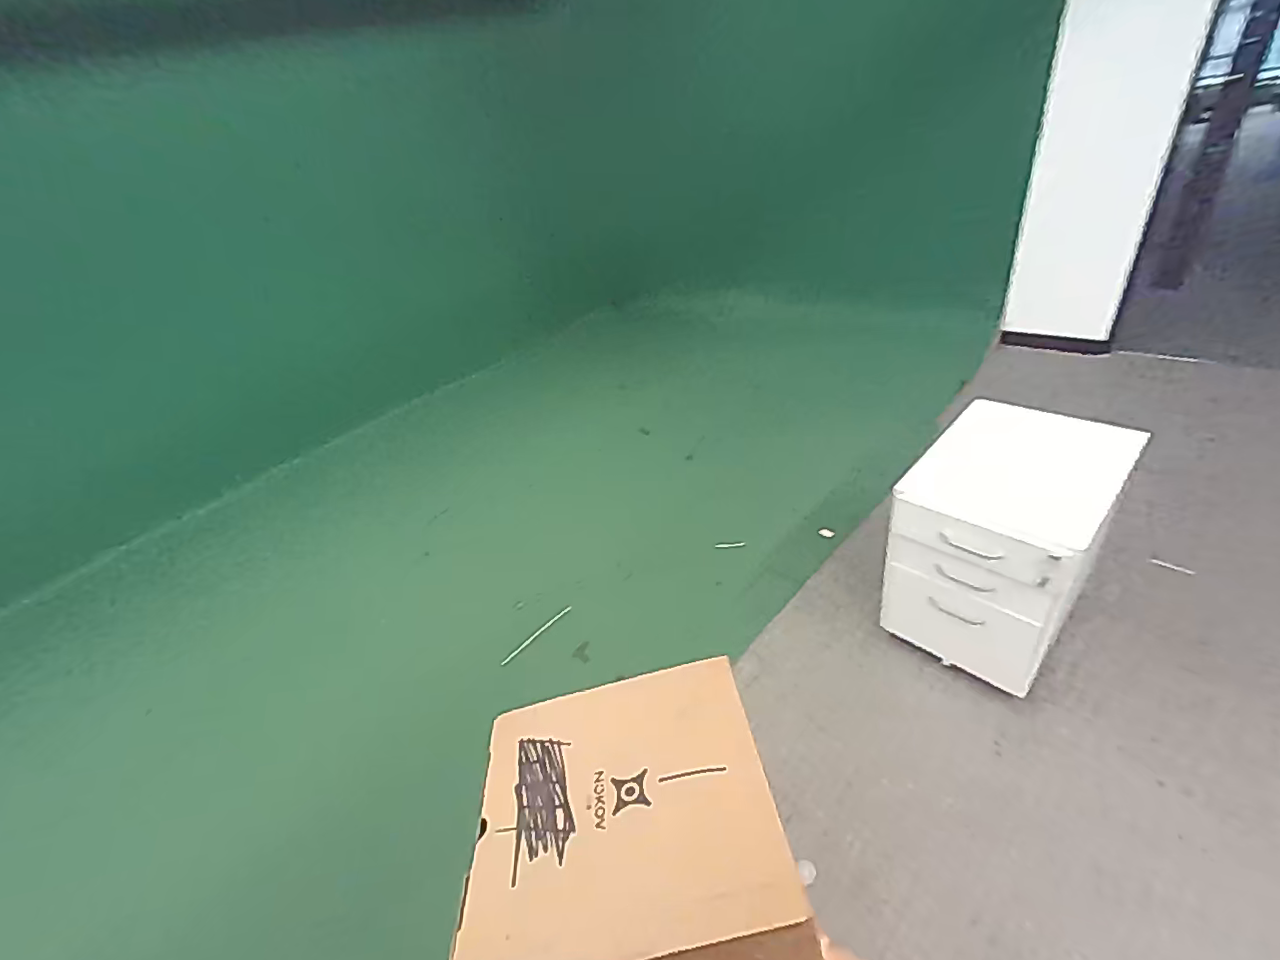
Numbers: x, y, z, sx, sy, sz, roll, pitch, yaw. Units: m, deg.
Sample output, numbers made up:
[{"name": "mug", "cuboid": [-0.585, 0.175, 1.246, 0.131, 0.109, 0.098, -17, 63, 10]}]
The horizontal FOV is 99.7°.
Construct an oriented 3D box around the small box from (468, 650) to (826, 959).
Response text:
[{"name": "small box", "cuboid": [0.013, 0.249, 0.361, 0.179, 0.176, 0.168, -13, 27, 2]}]
